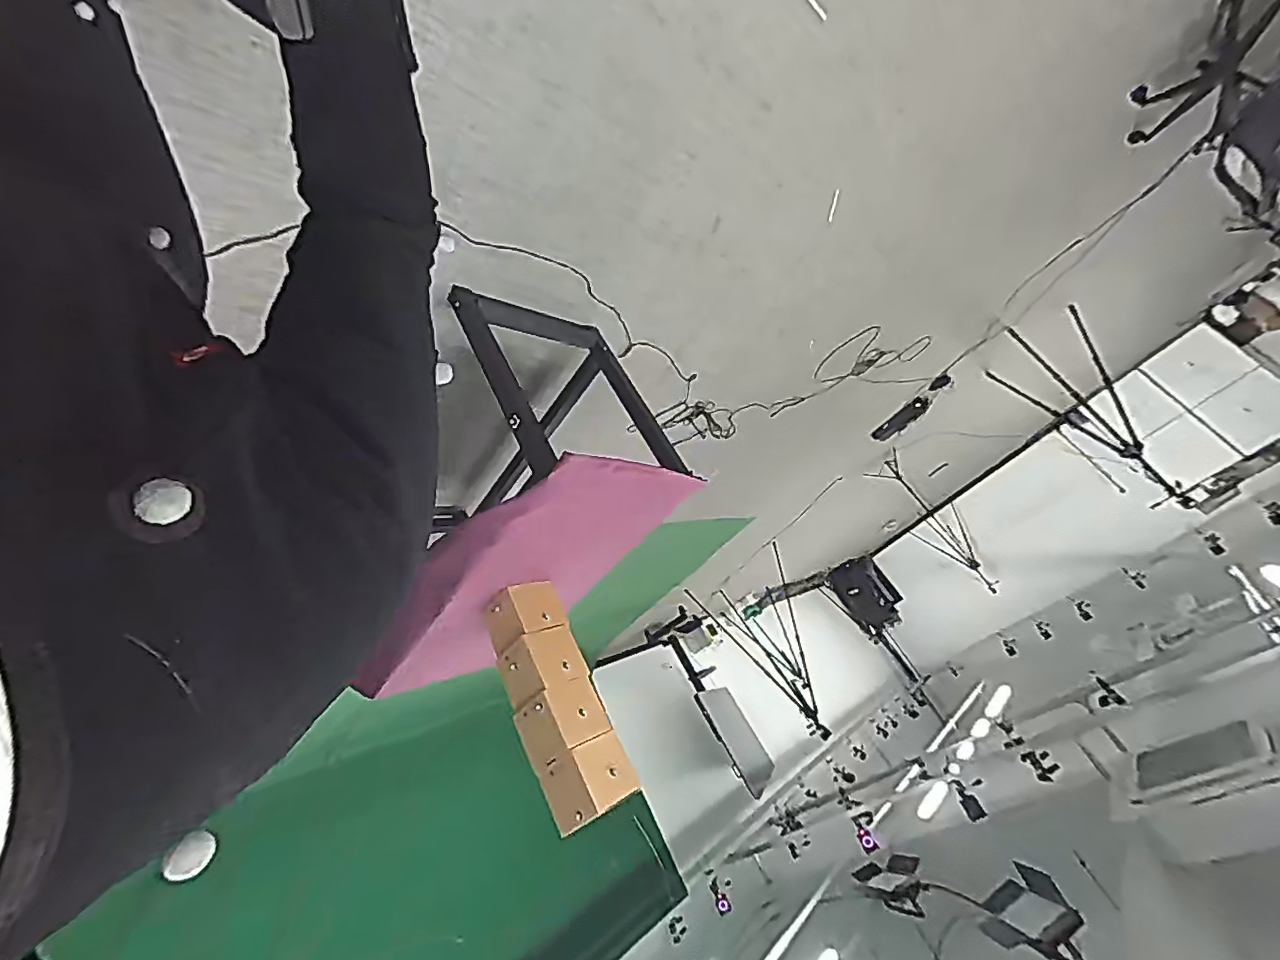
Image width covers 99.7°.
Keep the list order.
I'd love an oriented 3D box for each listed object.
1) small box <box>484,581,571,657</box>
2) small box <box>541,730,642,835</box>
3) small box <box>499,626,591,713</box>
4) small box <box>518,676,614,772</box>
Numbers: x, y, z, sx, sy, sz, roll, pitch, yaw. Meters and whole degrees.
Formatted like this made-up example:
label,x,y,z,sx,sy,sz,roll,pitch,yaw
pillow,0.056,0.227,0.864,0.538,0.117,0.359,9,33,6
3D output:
label,x,y,z,sx,sy,sz,roll,pitch,yaw
small box,-0.353,0.430,1.686,0.179,0.176,0.168,5,136,-51
small box,-0.133,0.807,1.460,0.168,0.176,0.179,-46,152,26
small box,-0.283,0.553,1.602,0.179,0.176,0.168,3,137,-50
small box,-0.214,0.681,1.526,0.179,0.176,0.168,3,138,-51
